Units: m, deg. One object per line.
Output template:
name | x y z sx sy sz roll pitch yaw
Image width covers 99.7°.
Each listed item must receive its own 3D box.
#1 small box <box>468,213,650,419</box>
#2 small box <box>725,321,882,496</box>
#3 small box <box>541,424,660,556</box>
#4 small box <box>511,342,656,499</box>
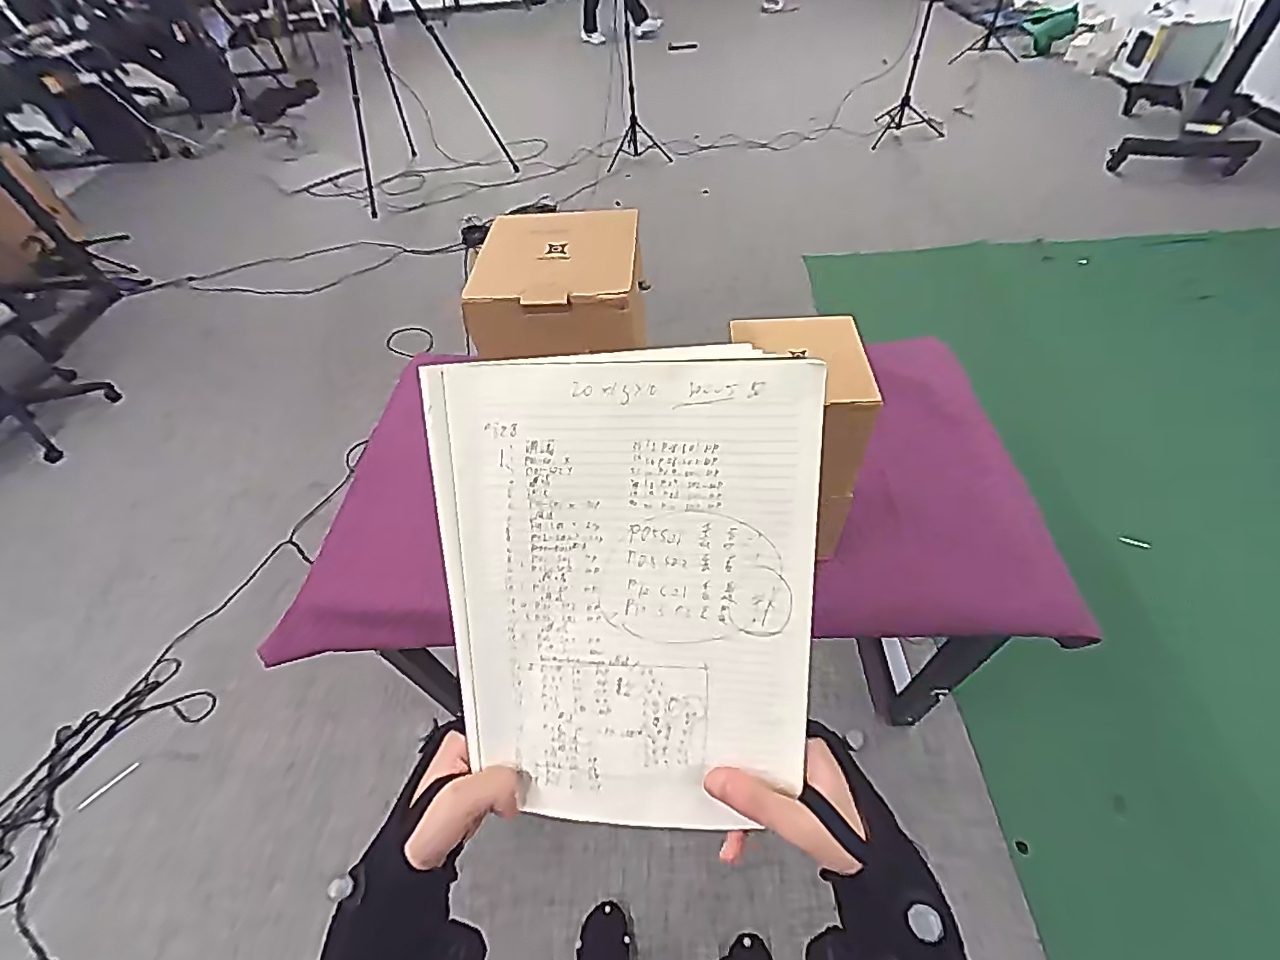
small box | -0.077 -0.185 0.629 0.168 0.176 0.179 0 50 5
small box | 0.207 -0.097 0.743 0.168 0.176 0.179 -1 50 5
small box | -0.053 0.014 0.889 0.168 0.176 0.179 -1 51 4
small box | -0.065 -0.085 0.758 0.168 0.176 0.179 -1 50 5
